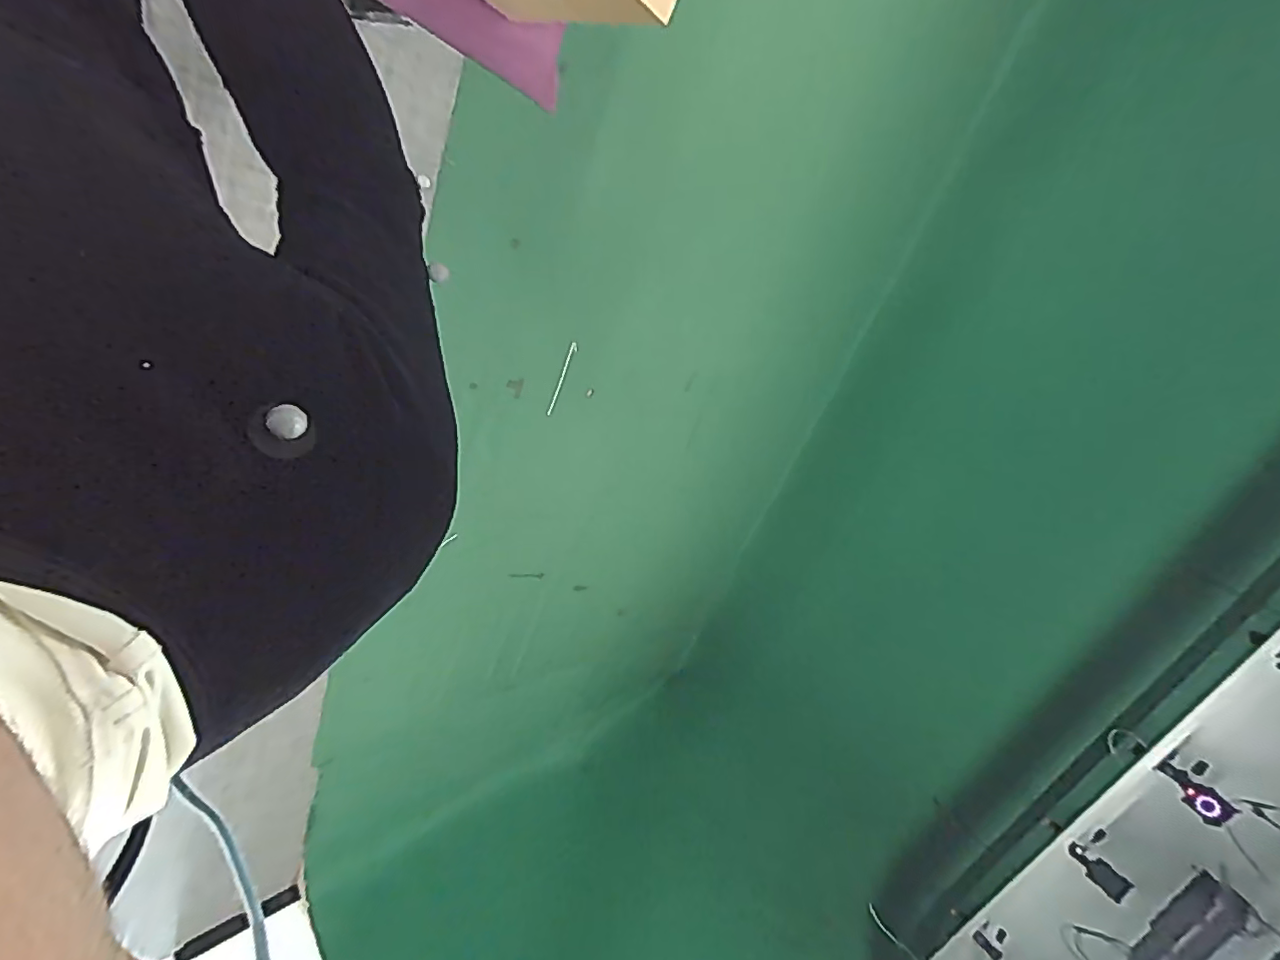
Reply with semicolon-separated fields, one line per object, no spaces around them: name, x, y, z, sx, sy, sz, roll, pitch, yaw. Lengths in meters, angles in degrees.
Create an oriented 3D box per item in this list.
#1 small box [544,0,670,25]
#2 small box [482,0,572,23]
small box;-0.050;-0.605;0.540;0.168;0.176;0.179;2;119;-49
small box;-0.162;-0.684;0.630;0.179;0.176;0.168;1;119;-50
